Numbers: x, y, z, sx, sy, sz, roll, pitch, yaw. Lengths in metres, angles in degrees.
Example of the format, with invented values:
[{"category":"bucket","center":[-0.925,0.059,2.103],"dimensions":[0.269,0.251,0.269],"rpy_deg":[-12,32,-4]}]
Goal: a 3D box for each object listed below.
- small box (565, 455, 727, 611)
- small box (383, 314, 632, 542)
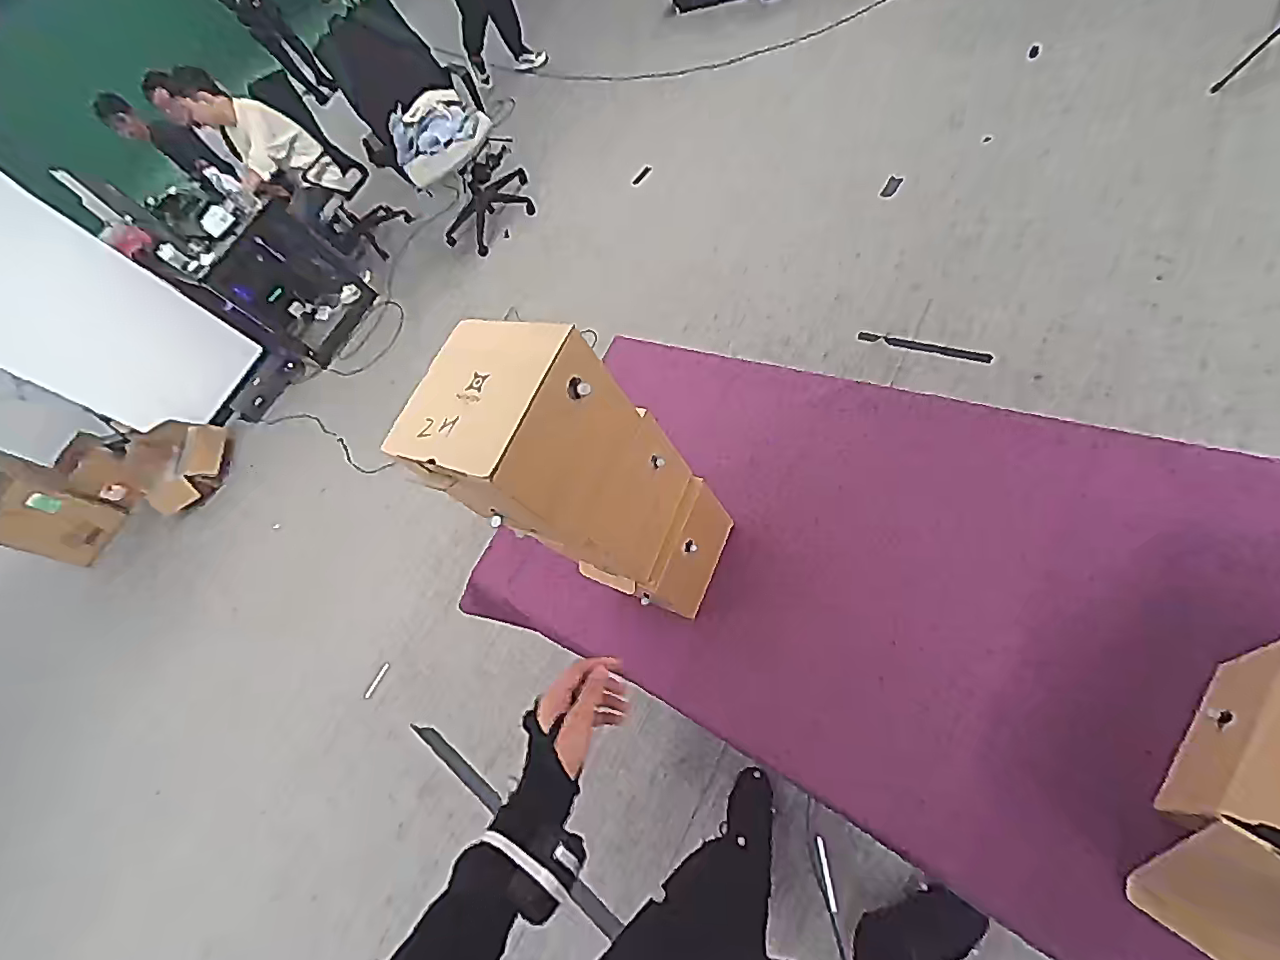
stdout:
[{"category":"small box","center":[0.020,0.087,0.855],"dimensions":[0.168,0.176,0.179],"rpy_deg":[17,72,32]},{"category":"small box","center":[-0.130,-0.056,0.596],"dimensions":[0.168,0.176,0.179],"rpy_deg":[13,70,32]}]
